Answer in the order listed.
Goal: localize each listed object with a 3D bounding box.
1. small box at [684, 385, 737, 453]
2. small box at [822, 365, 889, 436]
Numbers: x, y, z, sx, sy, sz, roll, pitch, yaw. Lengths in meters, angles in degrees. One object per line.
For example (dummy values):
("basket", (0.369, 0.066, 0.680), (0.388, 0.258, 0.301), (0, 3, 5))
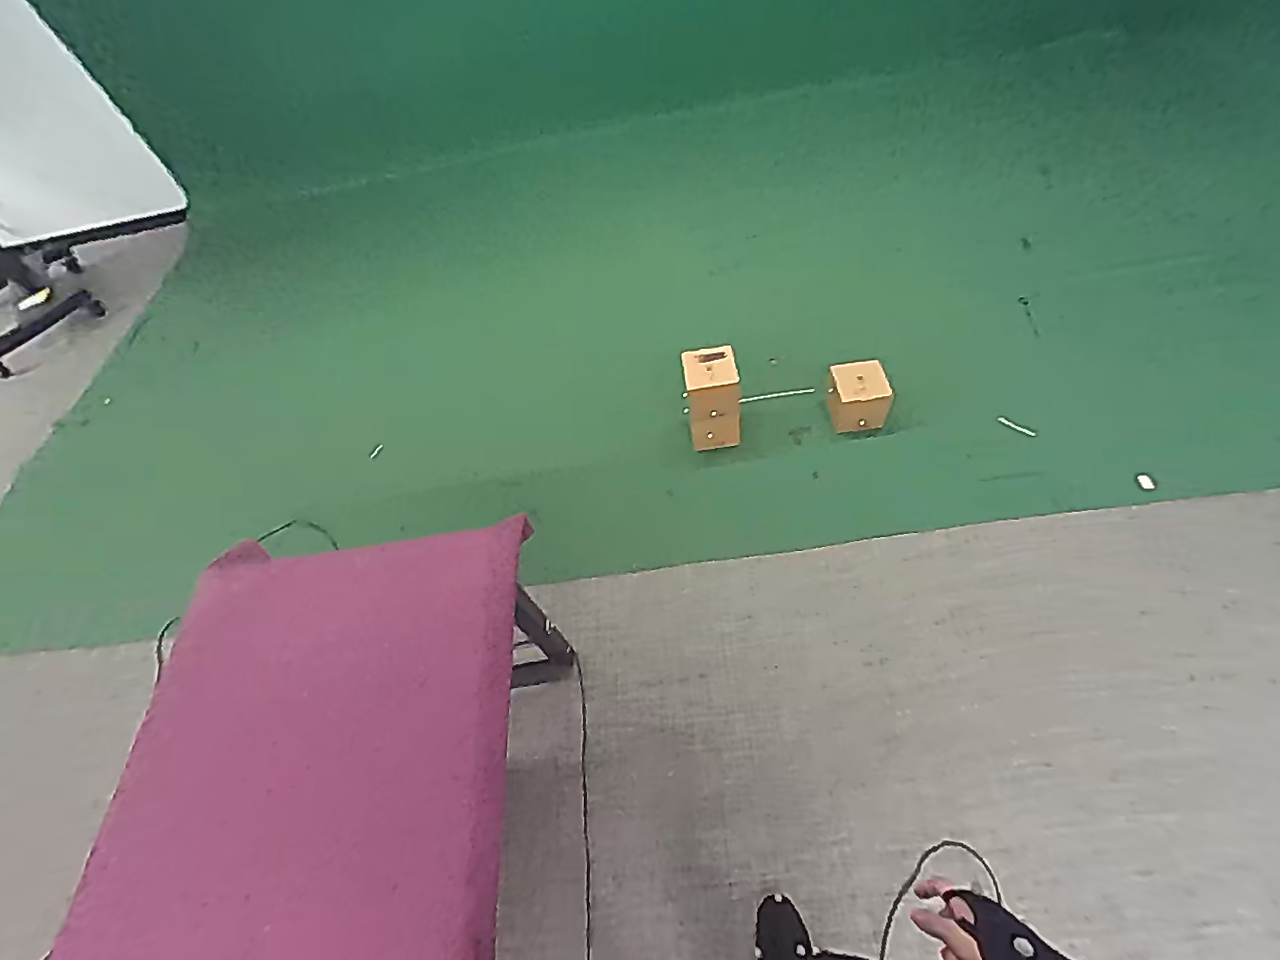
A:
("small box", (0.257, -0.214, 1.960), (0.168, 0.176, 0.179), (-8, 54, 5))
("small box", (0.753, -0.278, 1.914), (0.168, 0.176, 0.179), (-7, 55, 5))
